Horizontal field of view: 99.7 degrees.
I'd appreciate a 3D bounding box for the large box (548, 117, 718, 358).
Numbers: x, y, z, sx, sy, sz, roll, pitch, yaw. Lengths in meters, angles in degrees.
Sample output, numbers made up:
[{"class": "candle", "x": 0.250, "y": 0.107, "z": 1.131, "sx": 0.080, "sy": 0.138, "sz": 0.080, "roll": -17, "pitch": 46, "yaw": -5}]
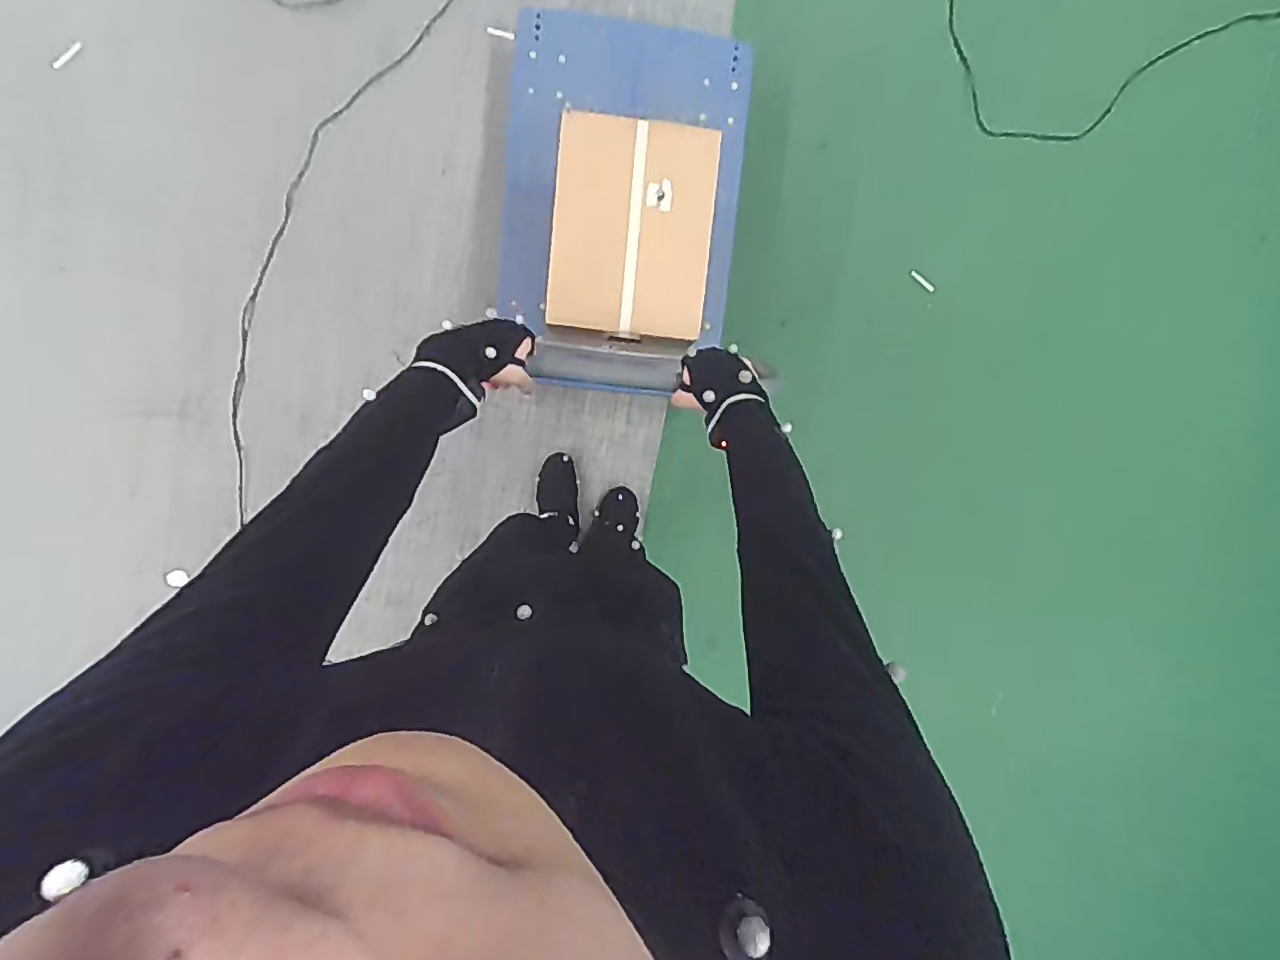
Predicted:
[{"class": "large box", "x": -0.023, "y": -0.503, "z": 1.213, "sx": 0.320, "sy": 0.320, "sz": 0.408, "roll": 5, "pitch": 95, "yaw": -5}]
